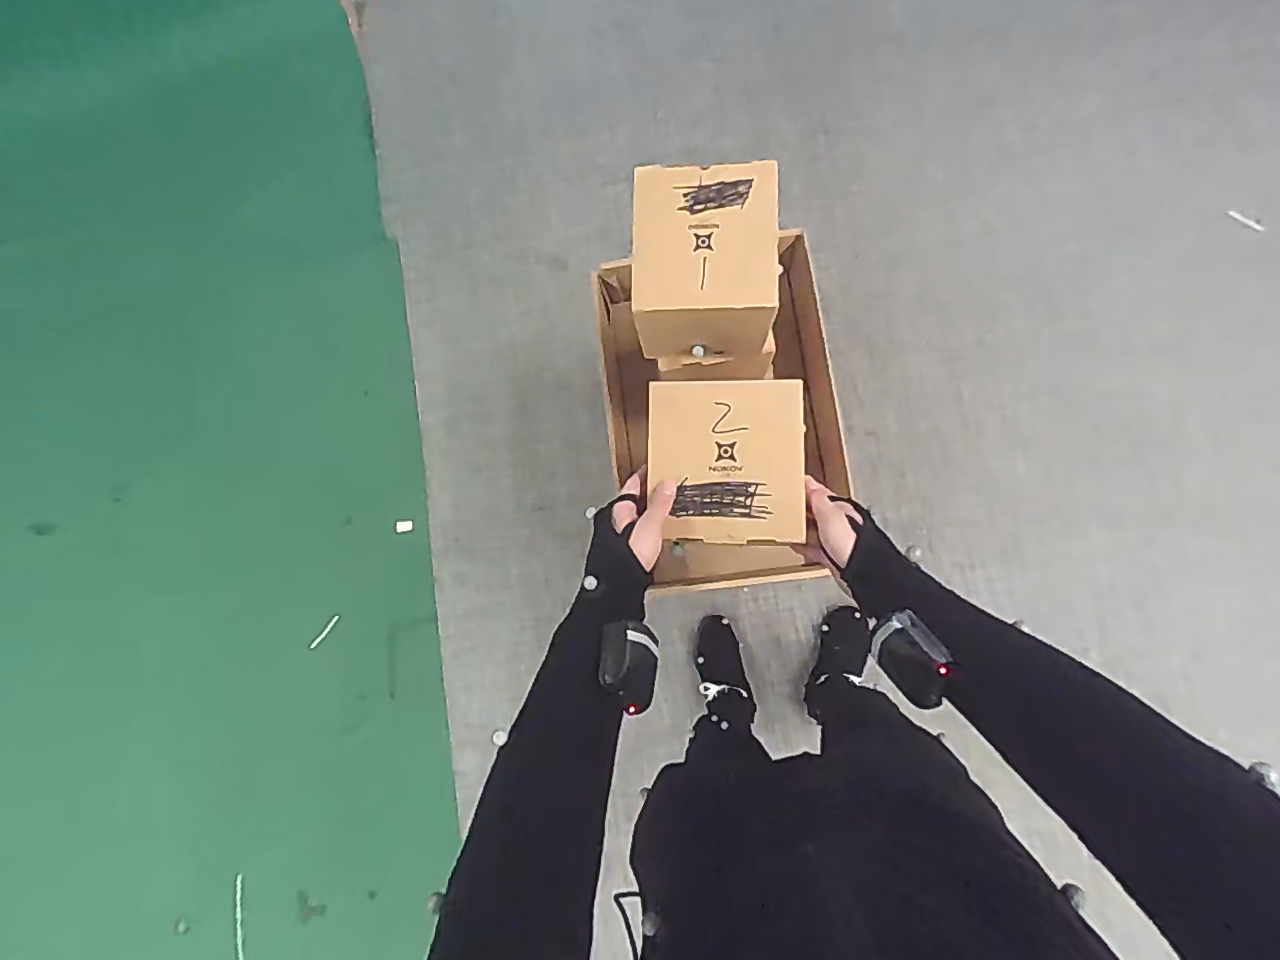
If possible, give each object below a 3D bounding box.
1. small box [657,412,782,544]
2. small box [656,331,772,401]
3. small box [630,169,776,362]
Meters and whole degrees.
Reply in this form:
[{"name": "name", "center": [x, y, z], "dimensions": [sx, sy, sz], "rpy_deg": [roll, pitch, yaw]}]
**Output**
[{"name": "small box", "center": [0.119, 0.005, 0.818], "dimensions": [0.168, 0.176, 0.179], "rpy_deg": [3, 82, 7]}, {"name": "small box", "center": [0.102, -0.240, 0.856], "dimensions": [0.168, 0.176, 0.179], "rpy_deg": [-9, 83, 5]}, {"name": "small box", "center": [0.079, -0.263, 0.695], "dimensions": [0.168, 0.176, 0.179], "rpy_deg": [1, 84, 6]}]
